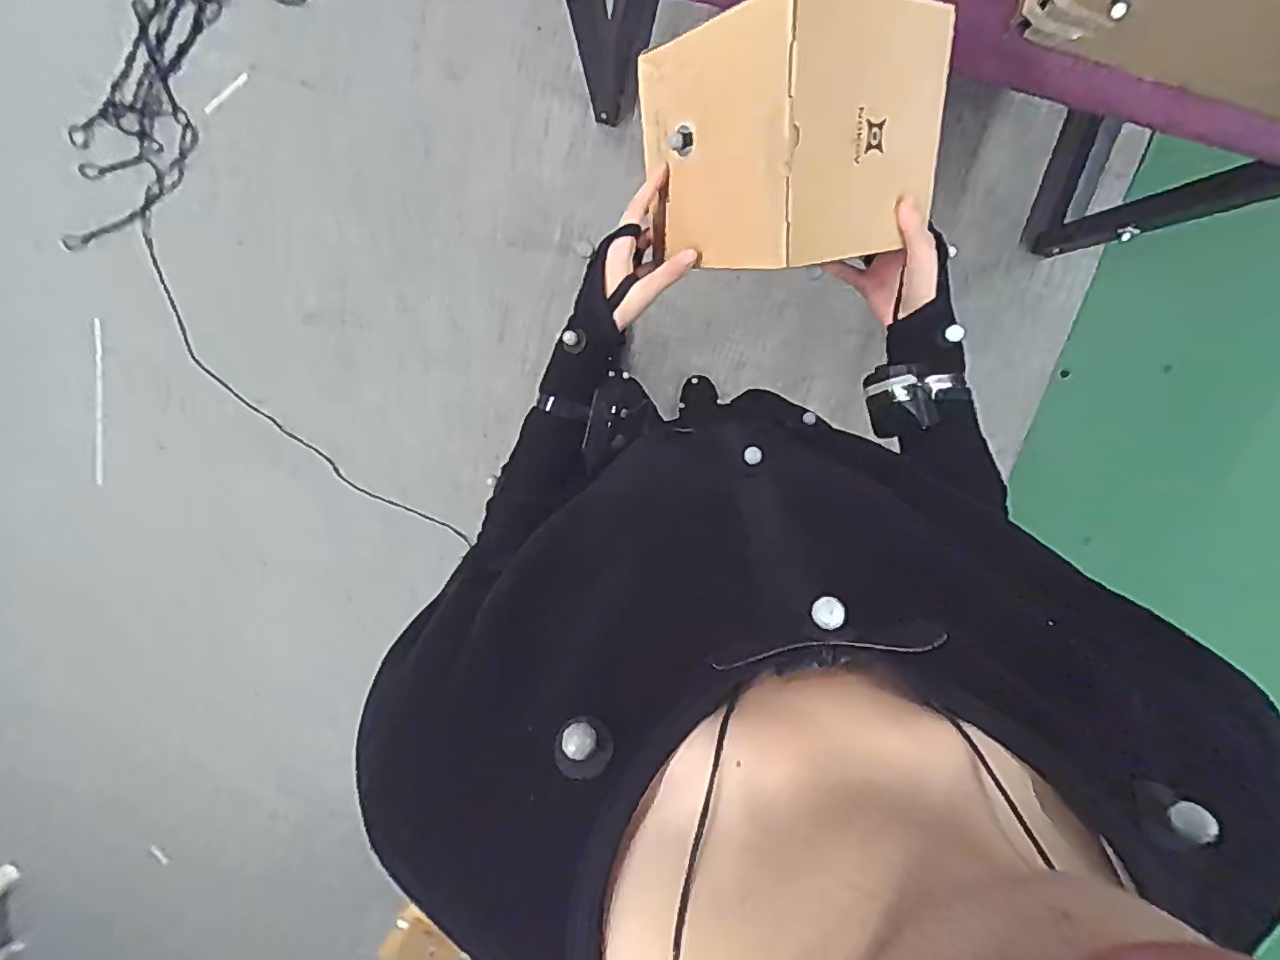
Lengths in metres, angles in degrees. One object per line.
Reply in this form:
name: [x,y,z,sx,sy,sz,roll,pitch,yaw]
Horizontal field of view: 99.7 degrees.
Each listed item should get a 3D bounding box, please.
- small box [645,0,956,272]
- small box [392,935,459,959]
small box: [0.124,-0.275,0.458,0.179,0.176,0.168,-19,119,-28]
small box: [-0.601,1.359,1.412,0.168,0.176,0.179,32,102,-5]
